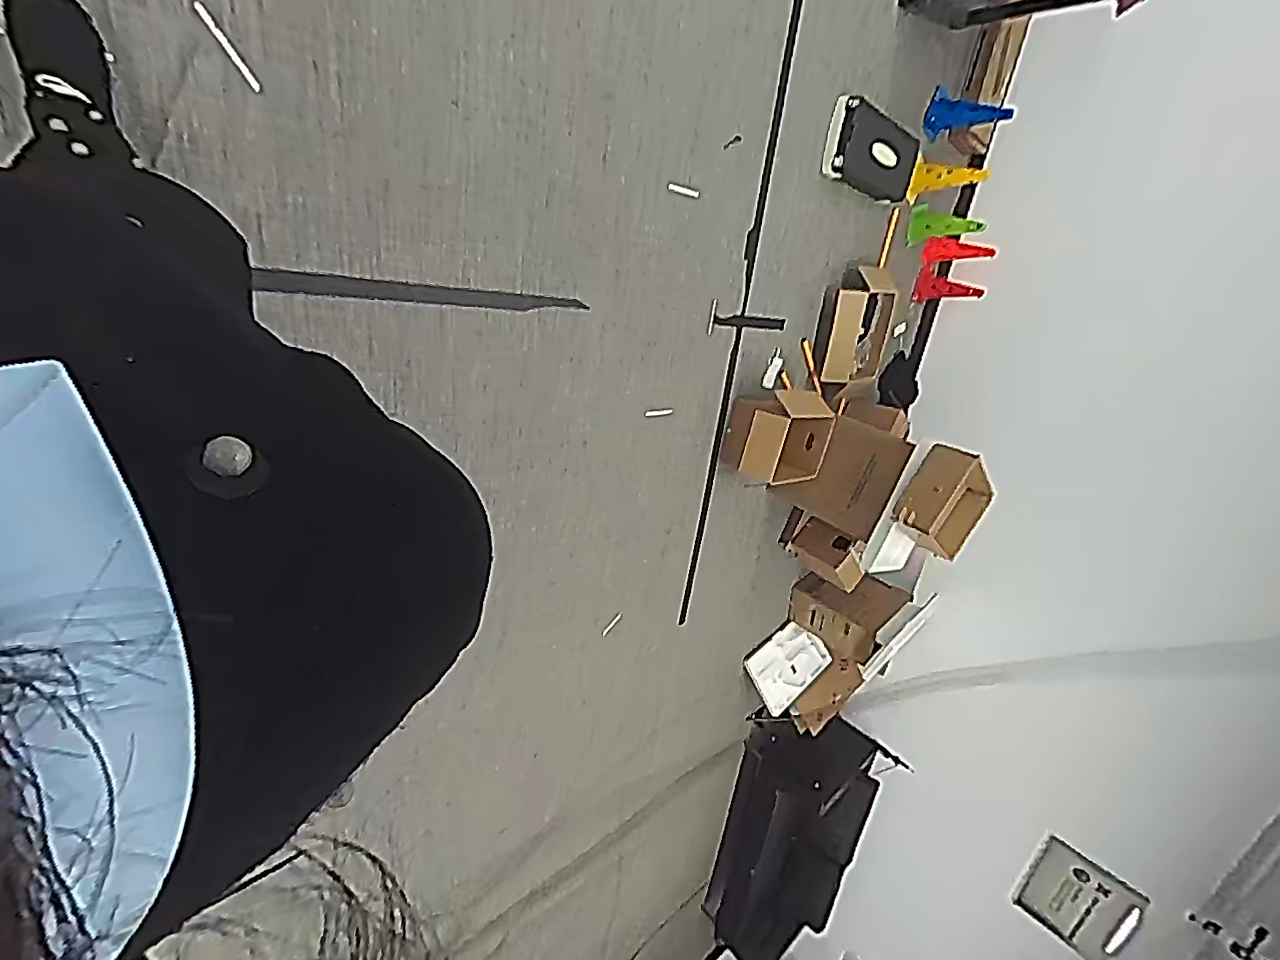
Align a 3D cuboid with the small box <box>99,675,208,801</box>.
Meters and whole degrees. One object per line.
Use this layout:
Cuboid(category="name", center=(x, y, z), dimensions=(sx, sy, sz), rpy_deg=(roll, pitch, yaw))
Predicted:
Cuboid(category="small box", center=(-1.163, 0.609, 1.296), dimensions=(0.168, 0.176, 0.179), rpy_deg=(-14, 120, -41))
